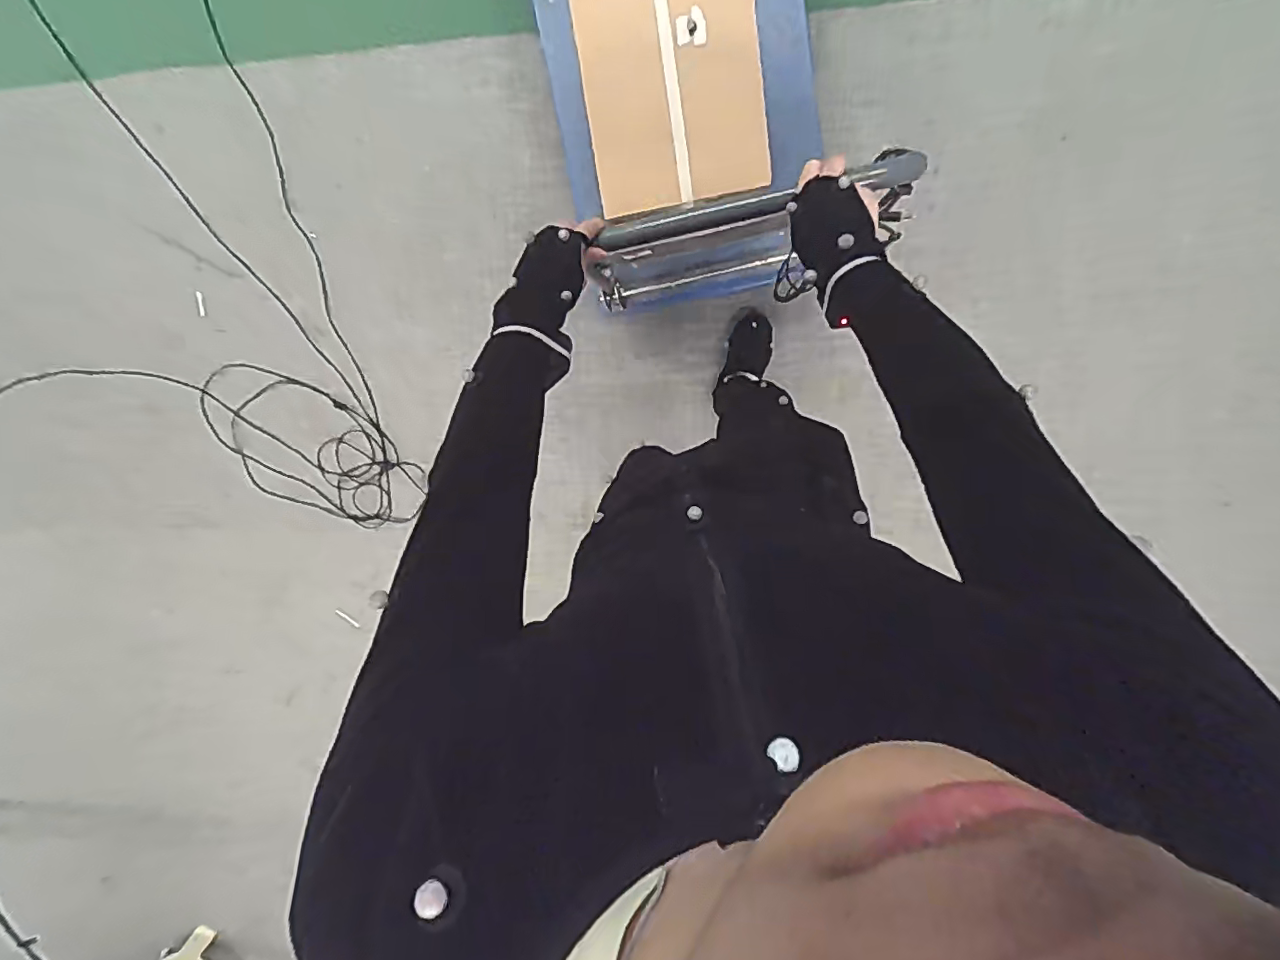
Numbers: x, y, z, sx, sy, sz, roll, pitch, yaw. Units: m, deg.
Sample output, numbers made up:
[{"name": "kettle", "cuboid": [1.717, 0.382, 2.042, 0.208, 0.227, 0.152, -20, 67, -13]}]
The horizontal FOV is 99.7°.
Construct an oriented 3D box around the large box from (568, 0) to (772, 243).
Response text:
[{"name": "large box", "cuboid": [0.070, -0.736, 1.079, 0.320, 0.320, 0.408, -7, 103, 8]}]
